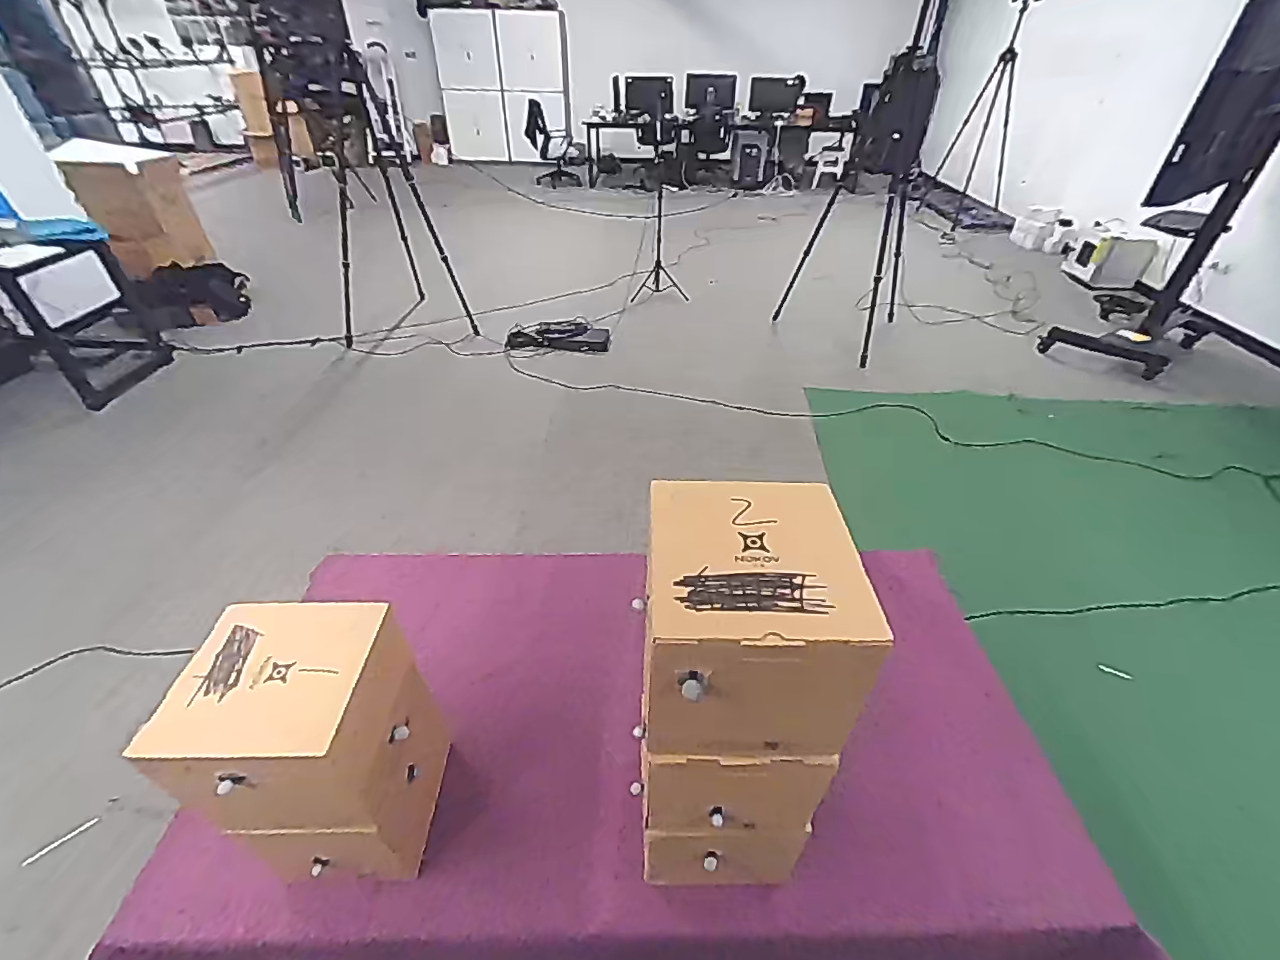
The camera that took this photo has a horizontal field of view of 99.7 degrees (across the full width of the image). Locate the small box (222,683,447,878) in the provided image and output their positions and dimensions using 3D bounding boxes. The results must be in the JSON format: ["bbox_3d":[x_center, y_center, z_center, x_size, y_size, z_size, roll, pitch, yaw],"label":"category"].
[{"bbox_3d":[-0.358,0.377,0.680,0.168,0.176,0.179,1,38,-1],"label":"small box"}]

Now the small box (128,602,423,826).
[{"bbox_3d":[-0.358,0.248,0.577,0.179,0.176,0.168,0,39,-1],"label":"small box"}]

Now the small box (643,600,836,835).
[{"bbox_3d":[0.088,0.251,0.581,0.168,0.176,0.179,1,39,0],"label":"small box"}]

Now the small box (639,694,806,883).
[{"bbox_3d":[0.089,0.383,0.678,0.179,0.176,0.168,-1,39,-1],"label":"small box"}]
